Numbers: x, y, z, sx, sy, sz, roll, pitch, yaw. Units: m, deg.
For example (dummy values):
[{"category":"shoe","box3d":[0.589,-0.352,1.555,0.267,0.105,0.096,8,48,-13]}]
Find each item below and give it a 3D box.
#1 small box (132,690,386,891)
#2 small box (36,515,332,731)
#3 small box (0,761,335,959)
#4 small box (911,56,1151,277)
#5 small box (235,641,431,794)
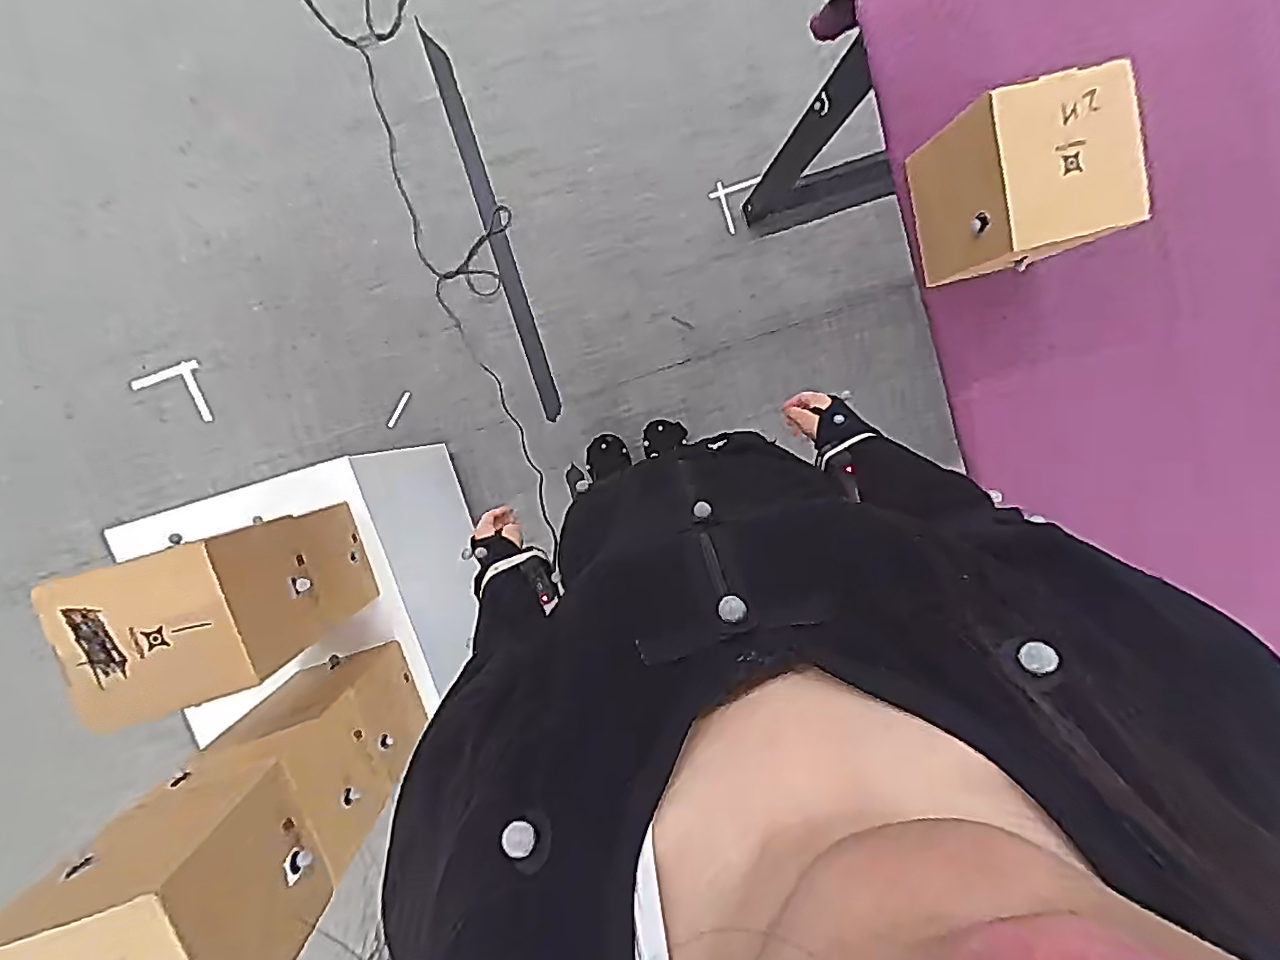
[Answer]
[{"category":"small box","box3d":[-0.439,0.389,0.664,0.179,0.176,0.168,-19,97,-1]},{"category":"small box","box3d":[-0.505,0.151,0.631,0.179,0.176,0.168,-16,98,-3]},{"category":"small box","box3d":[-0.430,0.405,0.502,0.179,0.176,0.168,-19,98,-2]},{"category":"small box","box3d":[0.469,-0.366,0.672,0.168,0.176,0.179,-14,97,-3]},{"category":"small box","box3d":[-0.452,0.372,0.825,0.179,0.176,0.168,-17,98,-1]}]
